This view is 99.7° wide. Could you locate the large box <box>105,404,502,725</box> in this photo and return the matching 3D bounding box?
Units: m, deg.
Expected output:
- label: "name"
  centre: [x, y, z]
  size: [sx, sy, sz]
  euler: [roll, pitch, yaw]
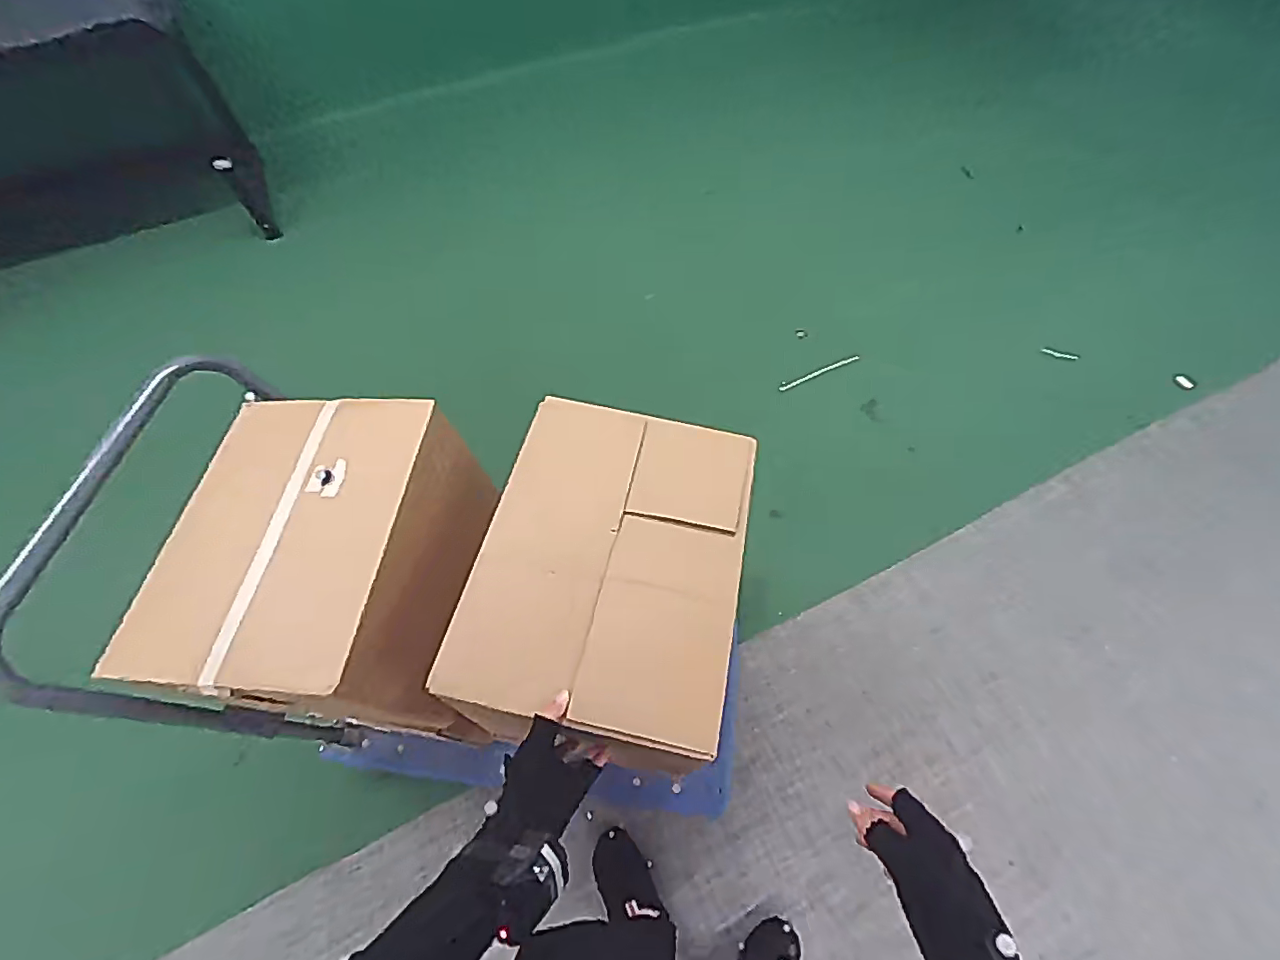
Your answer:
- label: "large box"
  centre: [-0.444, 0.137, 0.832]
  size: [0.320, 0.320, 0.408]
  euler: [1, 59, 9]
